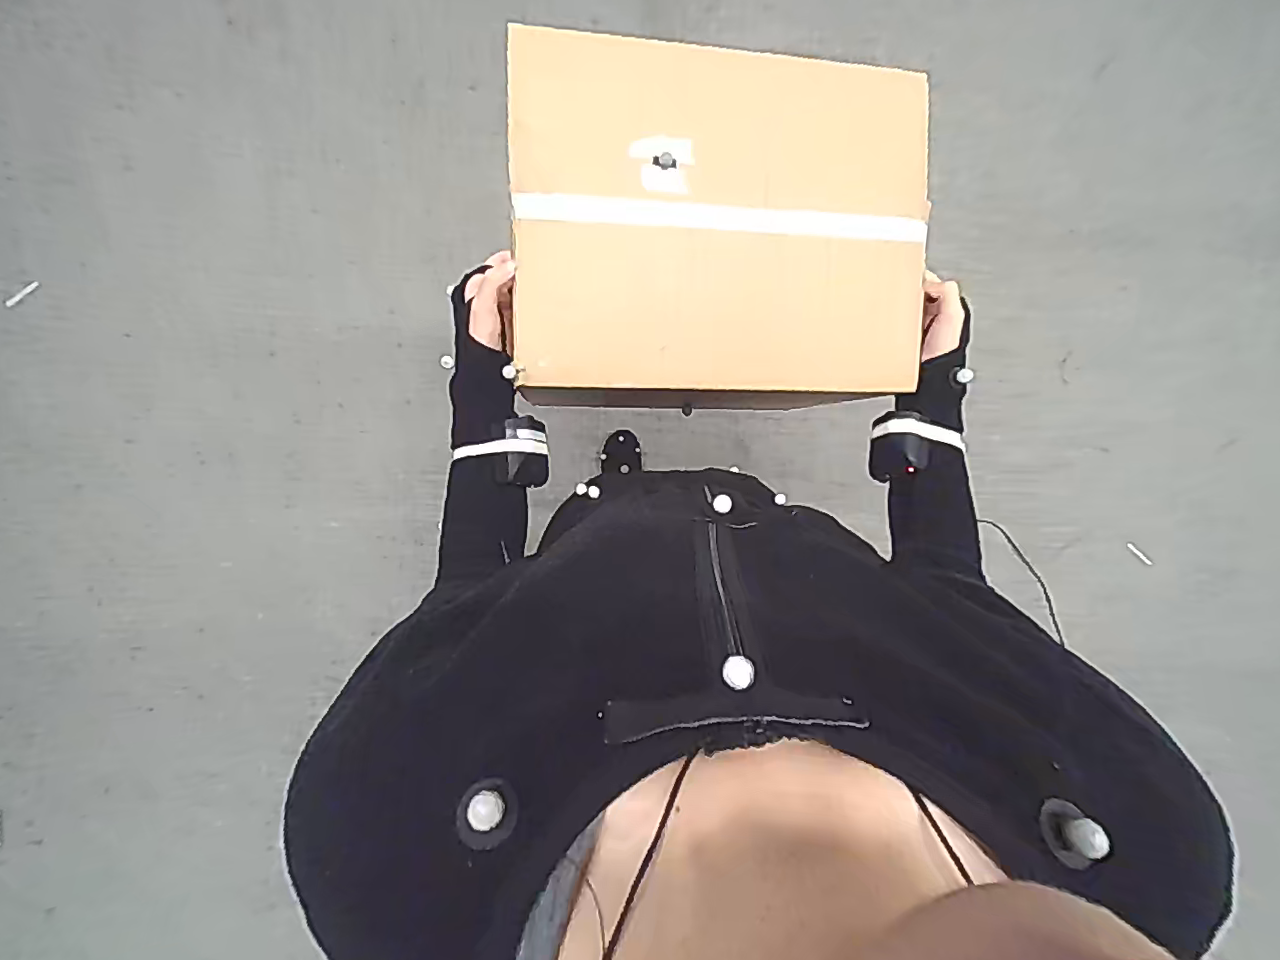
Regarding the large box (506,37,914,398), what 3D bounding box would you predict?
[{"bbox_3d":[0.058,-0.264,0.670,0.408,0.320,0.320,-1,94,-8],"label":"large box"}]
